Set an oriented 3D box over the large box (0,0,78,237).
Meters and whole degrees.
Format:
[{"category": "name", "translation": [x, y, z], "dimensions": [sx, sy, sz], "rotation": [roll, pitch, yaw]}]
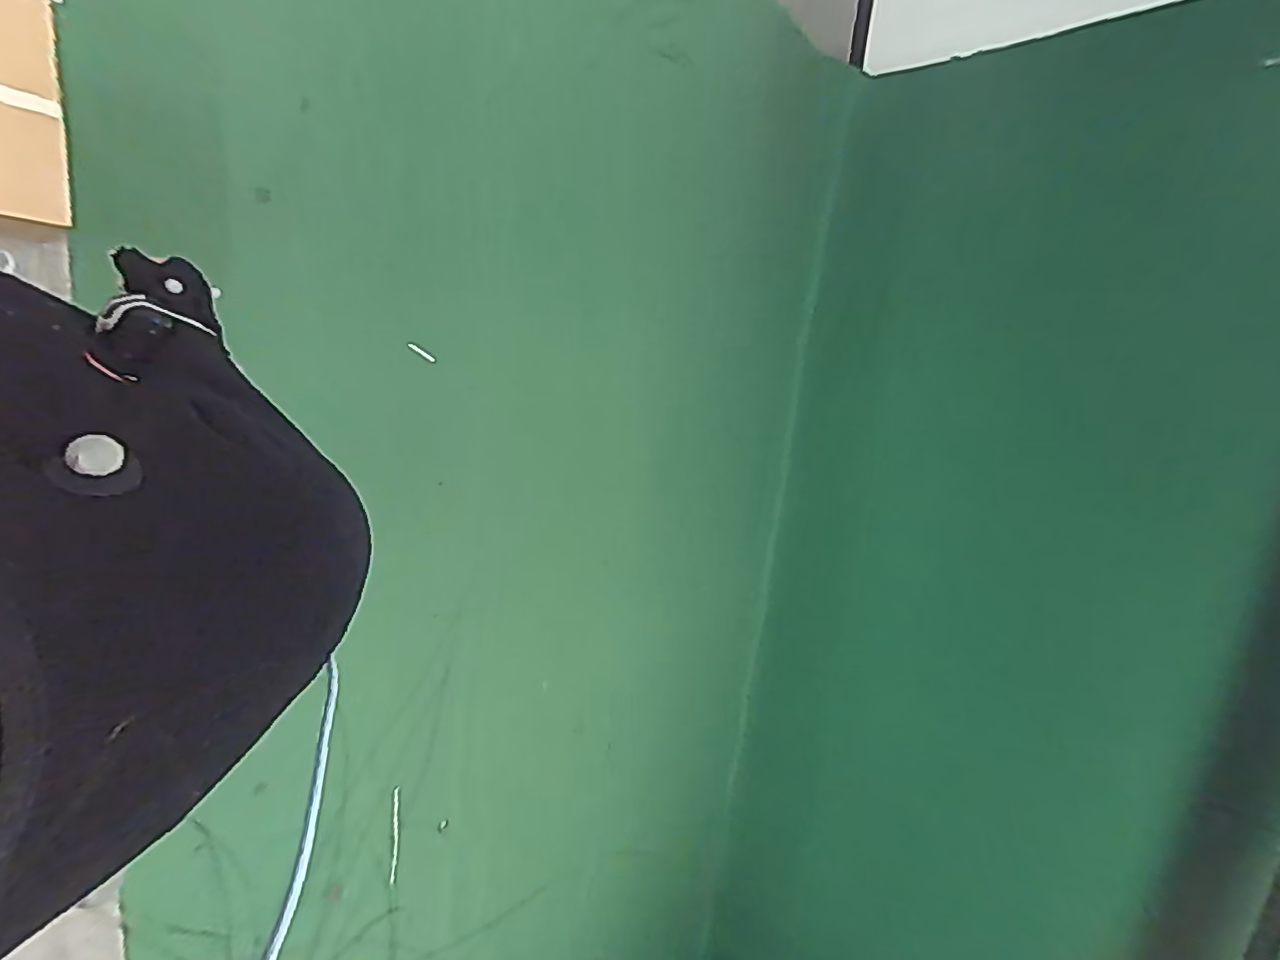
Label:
[{"category": "large box", "translation": [-1.072, -0.545, 0.723], "dimensions": [0.408, 0.320, 0.320], "rotation": [-8, 108, -49]}]
